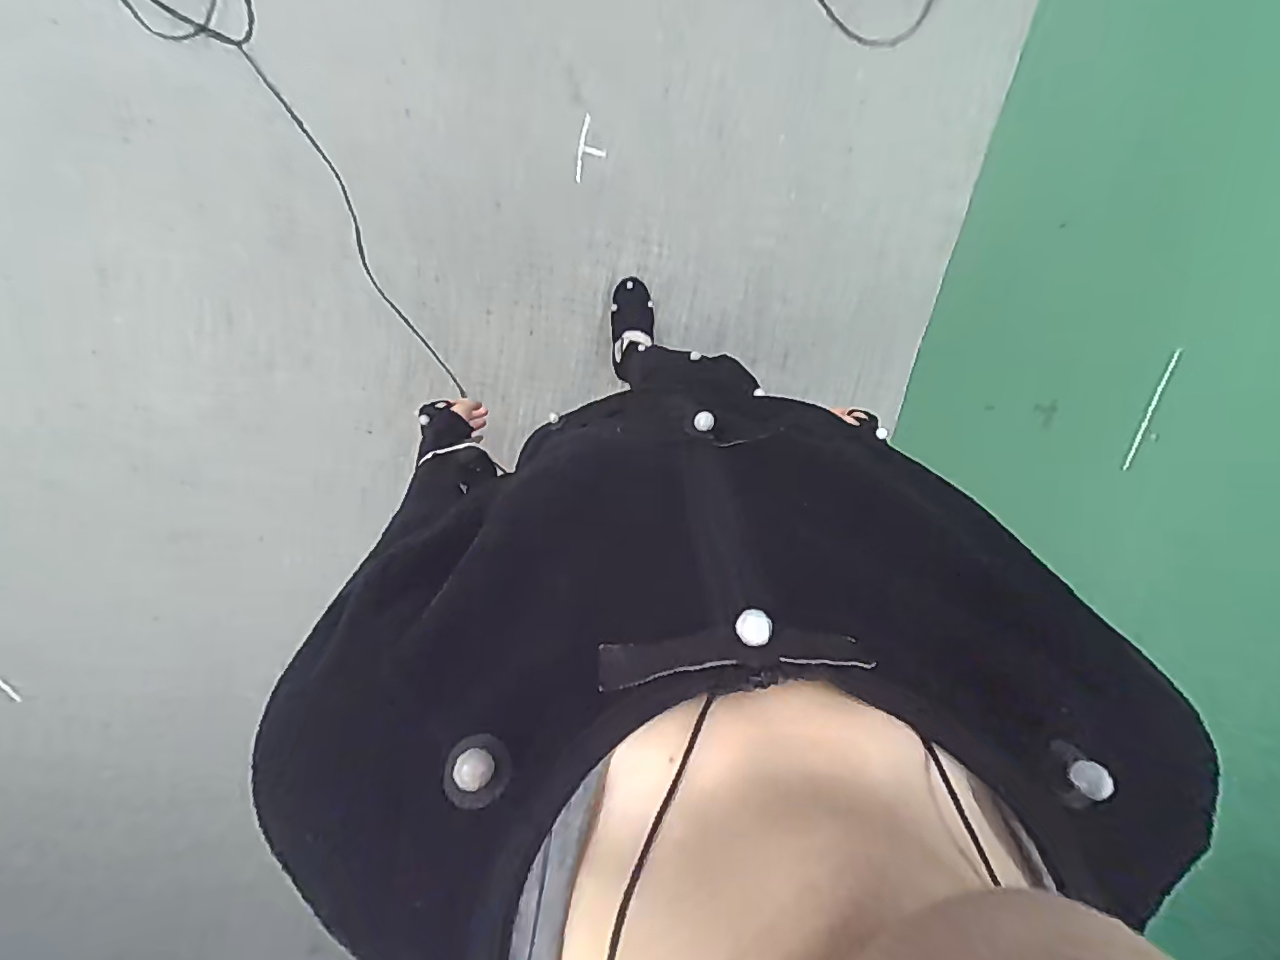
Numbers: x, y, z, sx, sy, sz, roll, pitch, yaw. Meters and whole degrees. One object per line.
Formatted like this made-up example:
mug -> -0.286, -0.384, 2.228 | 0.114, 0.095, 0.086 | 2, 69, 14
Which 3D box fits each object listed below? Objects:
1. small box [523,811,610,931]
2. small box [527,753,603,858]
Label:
small box -> -0.172, 0.907, 1.266 | 0.179, 0.176, 0.168 | 7, 105, -9
small box -> -0.194, 0.859, 1.422 | 0.168, 0.176, 0.179 | 10, 103, -10
